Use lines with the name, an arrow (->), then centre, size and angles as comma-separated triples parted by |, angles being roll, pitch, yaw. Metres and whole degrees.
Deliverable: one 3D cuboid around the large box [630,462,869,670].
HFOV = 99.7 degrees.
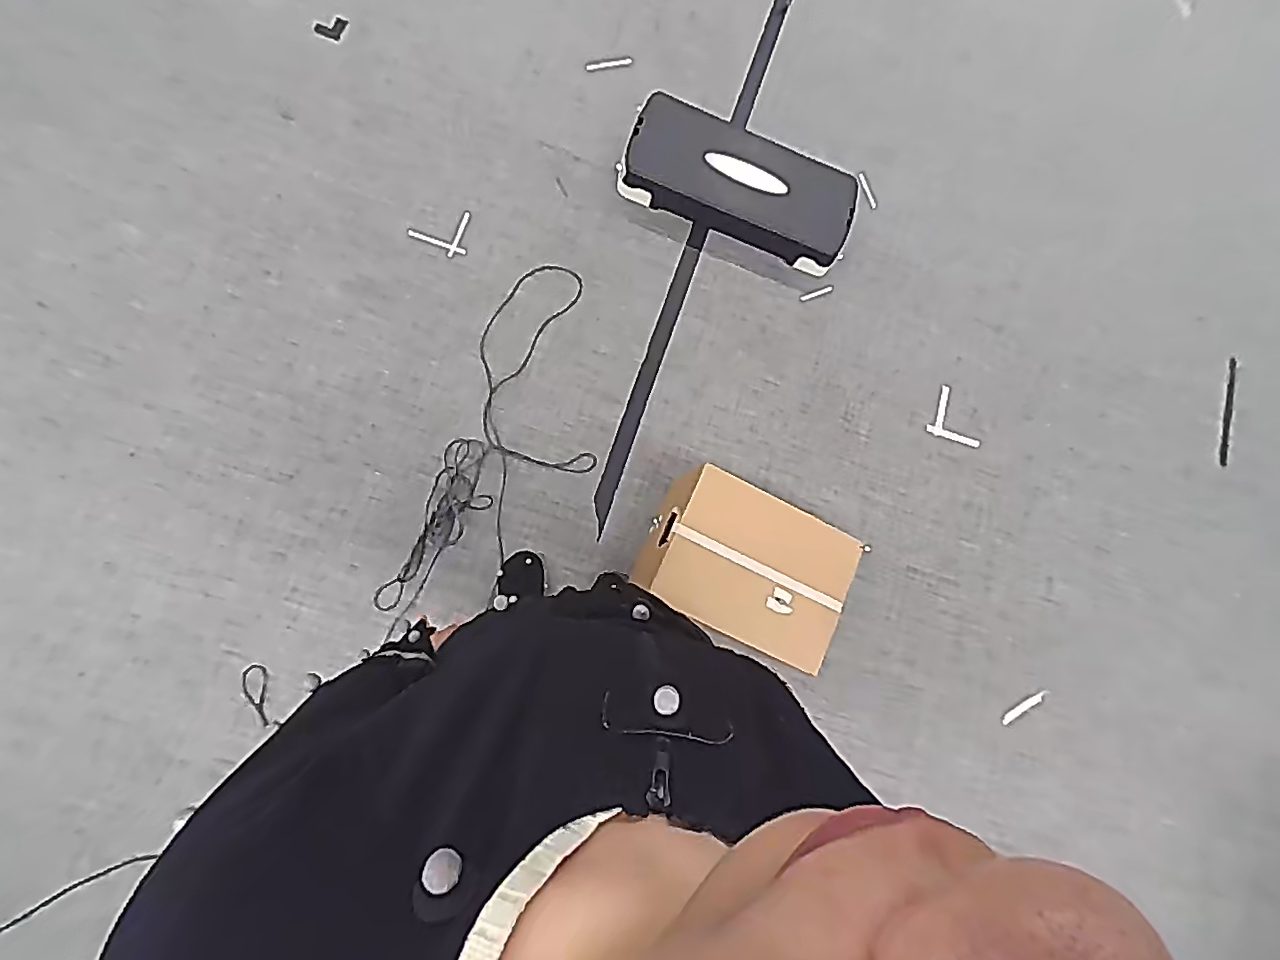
large box -> 0.234, 0.197, 1.272 | 0.408, 0.320, 0.320 | 26, 80, -6
